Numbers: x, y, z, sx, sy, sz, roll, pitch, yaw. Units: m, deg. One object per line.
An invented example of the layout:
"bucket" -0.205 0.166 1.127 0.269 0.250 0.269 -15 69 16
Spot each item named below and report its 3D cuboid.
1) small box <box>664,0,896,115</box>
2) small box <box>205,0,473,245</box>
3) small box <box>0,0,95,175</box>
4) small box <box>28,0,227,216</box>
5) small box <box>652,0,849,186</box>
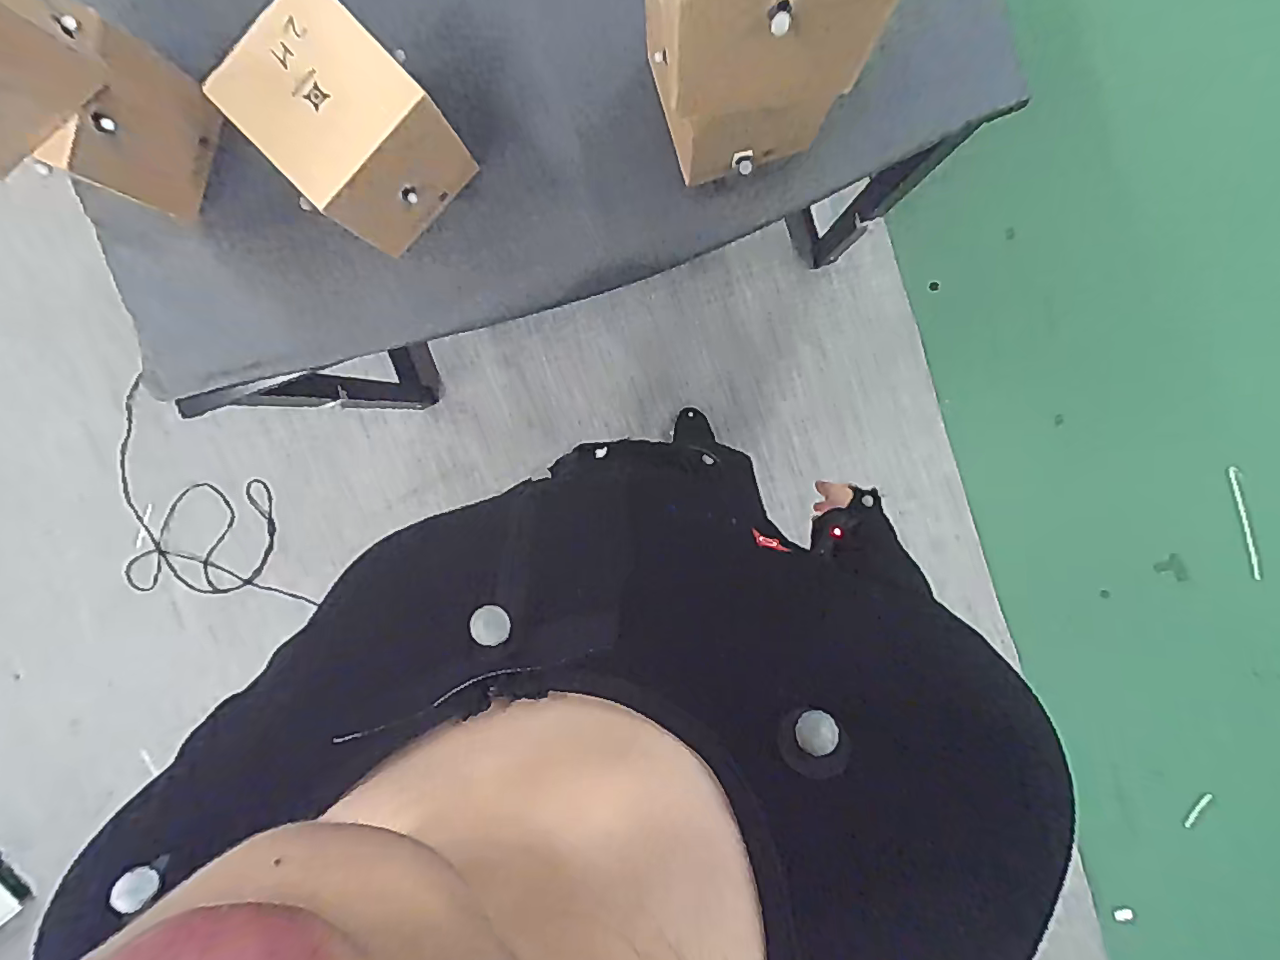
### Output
"small box" 0.108 -0.441 0.445 0.179 0.176 0.168 -7 95 5
"small box" -0.329 -0.405 0.631 0.168 0.176 0.179 -44 92 6
"small box" -0.659 -0.421 0.479 0.179 0.176 0.168 -37 95 7
"small box" -0.654 -0.445 0.642 0.179 0.176 0.168 22 97 -1
"small box" 0.111 -0.472 0.605 0.168 0.176 0.179 -17 95 5
